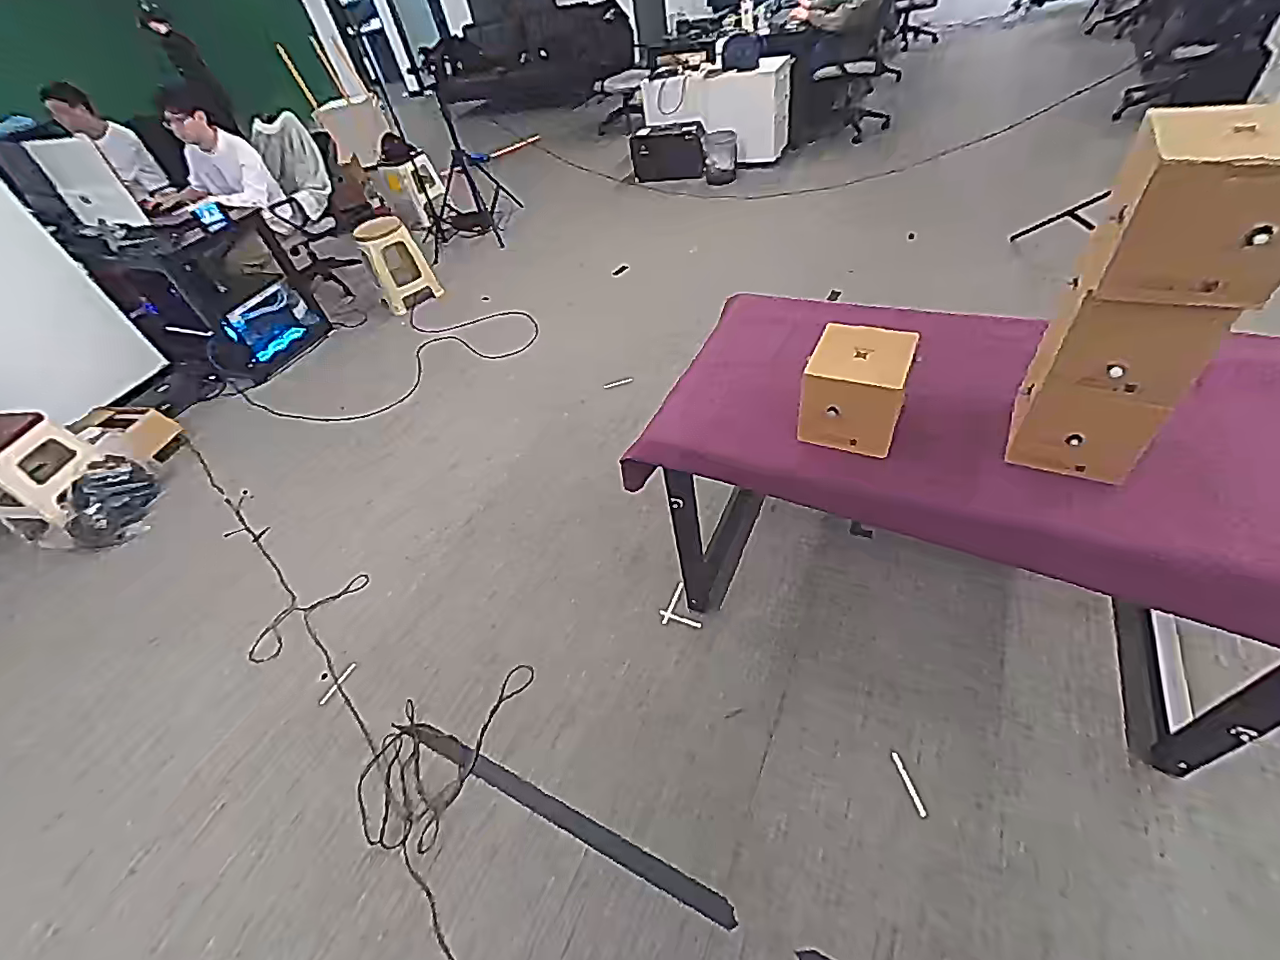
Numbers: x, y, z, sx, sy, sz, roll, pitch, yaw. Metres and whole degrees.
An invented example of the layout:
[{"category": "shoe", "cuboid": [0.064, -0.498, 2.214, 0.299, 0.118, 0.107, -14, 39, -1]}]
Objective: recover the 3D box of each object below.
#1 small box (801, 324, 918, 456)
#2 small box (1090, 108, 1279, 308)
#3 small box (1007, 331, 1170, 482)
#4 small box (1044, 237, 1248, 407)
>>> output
[{"category": "small box", "cuboid": [0.410, -0.170, 1.026, 0.168, 0.176, 0.179, 16, 51, 24]}, {"category": "small box", "cuboid": [0.688, -0.330, 0.662, 0.168, 0.176, 0.179, 14, 51, 23]}, {"category": "small box", "cuboid": [0.743, -0.123, 0.909, 0.168, 0.176, 0.179, 17, 53, 26]}, {"category": "small box", "cuboid": [0.722, -0.236, 0.792, 0.168, 0.176, 0.179, 17, 53, 26]}]
